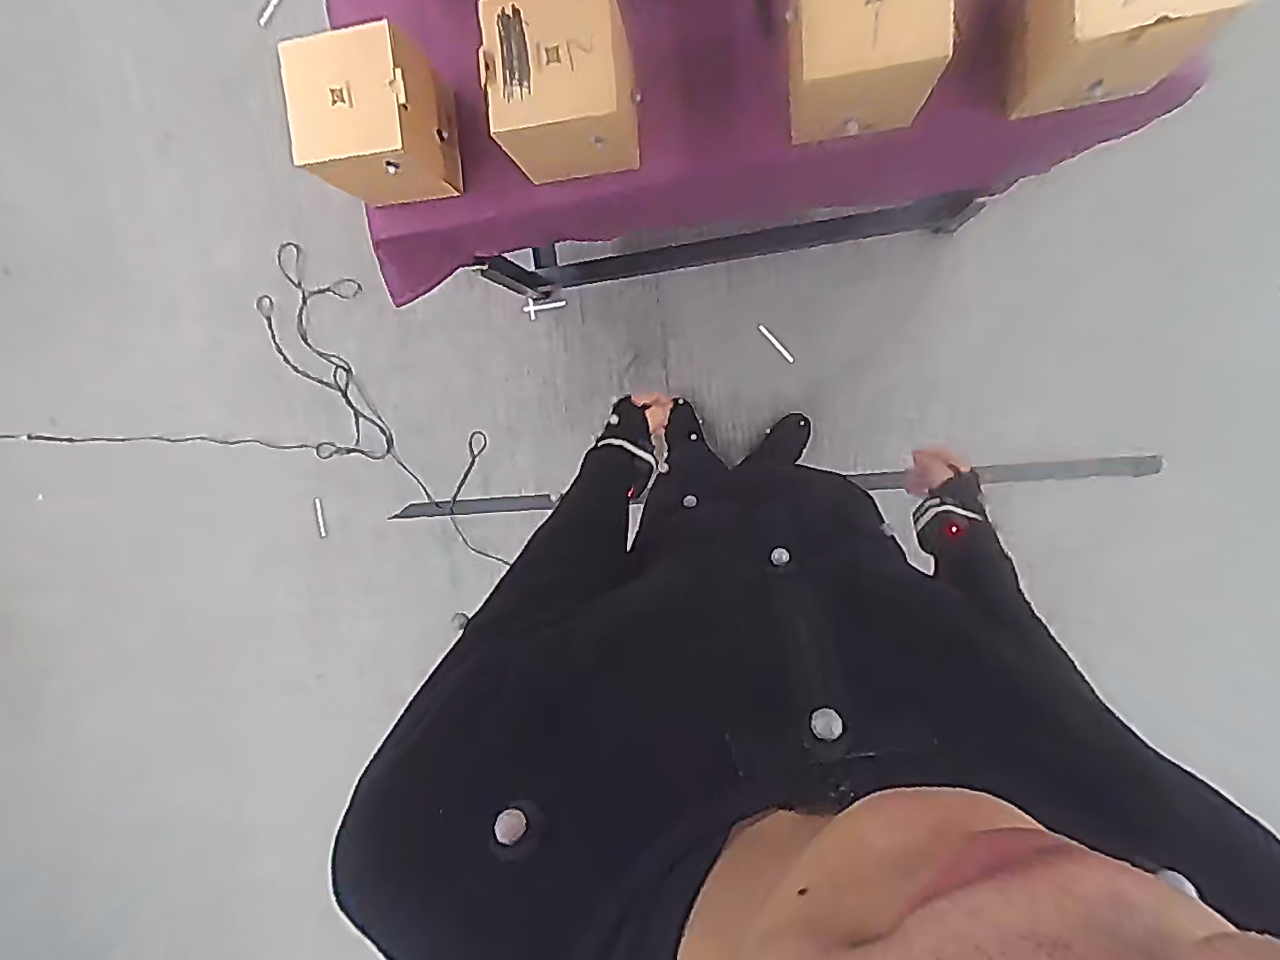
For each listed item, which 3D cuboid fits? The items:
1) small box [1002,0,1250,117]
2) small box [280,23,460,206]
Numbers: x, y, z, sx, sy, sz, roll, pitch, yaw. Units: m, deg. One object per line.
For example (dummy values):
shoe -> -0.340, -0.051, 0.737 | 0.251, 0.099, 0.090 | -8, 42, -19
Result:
small box -> 0.554, -0.577, 0.639 | 0.168, 0.176, 0.179 | -4, 97, 13
small box -> -0.401, -0.540, 0.827 | 0.179, 0.176, 0.168 | -2, 97, 10
